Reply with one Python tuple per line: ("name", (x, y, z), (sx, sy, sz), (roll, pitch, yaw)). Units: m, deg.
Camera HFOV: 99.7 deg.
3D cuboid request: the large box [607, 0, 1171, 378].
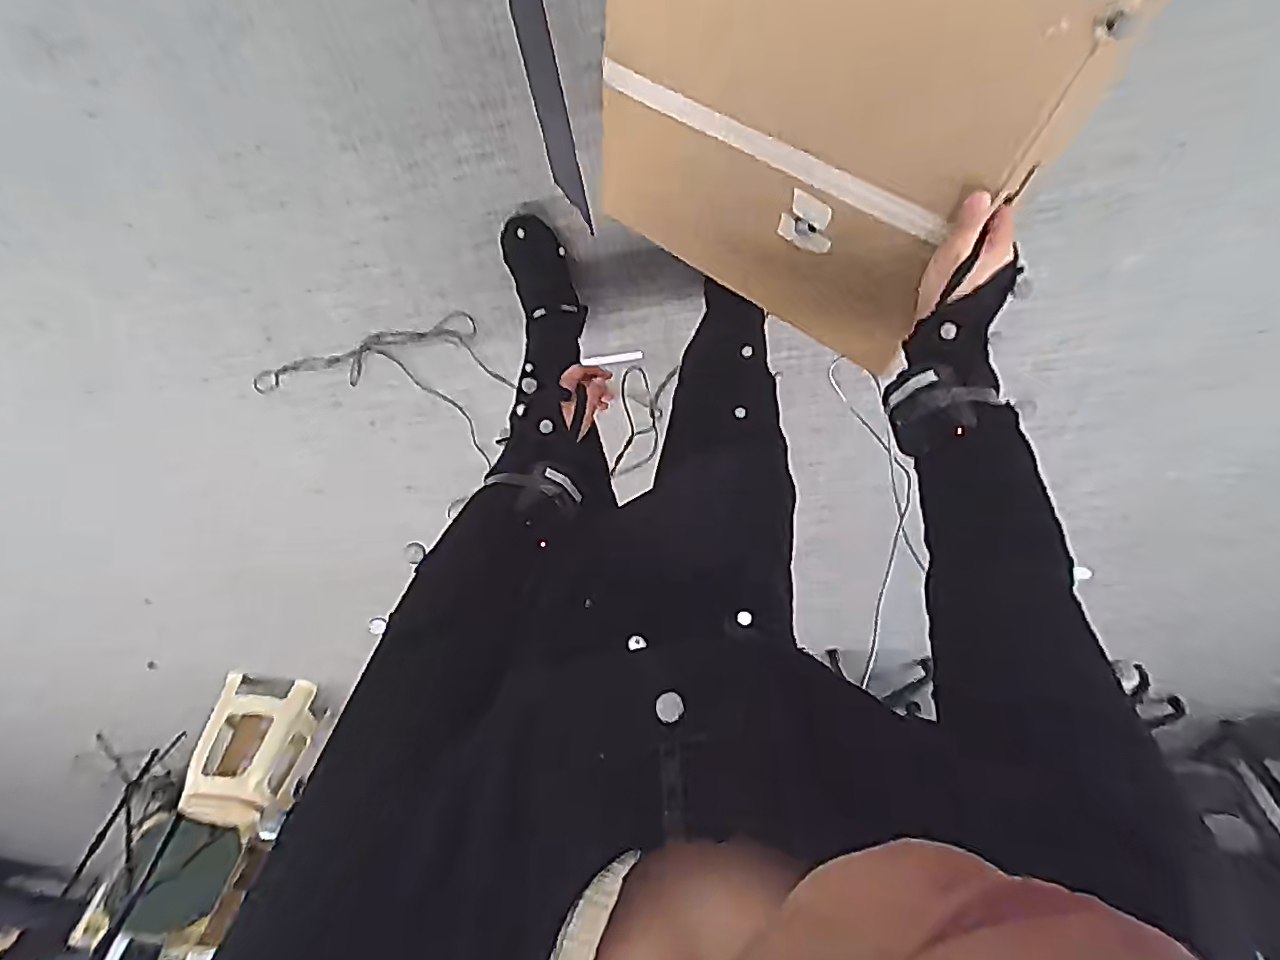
("large box", (0.220, -0.390, 0.578), (0.408, 0.320, 0.320), (37, 149, 17))
